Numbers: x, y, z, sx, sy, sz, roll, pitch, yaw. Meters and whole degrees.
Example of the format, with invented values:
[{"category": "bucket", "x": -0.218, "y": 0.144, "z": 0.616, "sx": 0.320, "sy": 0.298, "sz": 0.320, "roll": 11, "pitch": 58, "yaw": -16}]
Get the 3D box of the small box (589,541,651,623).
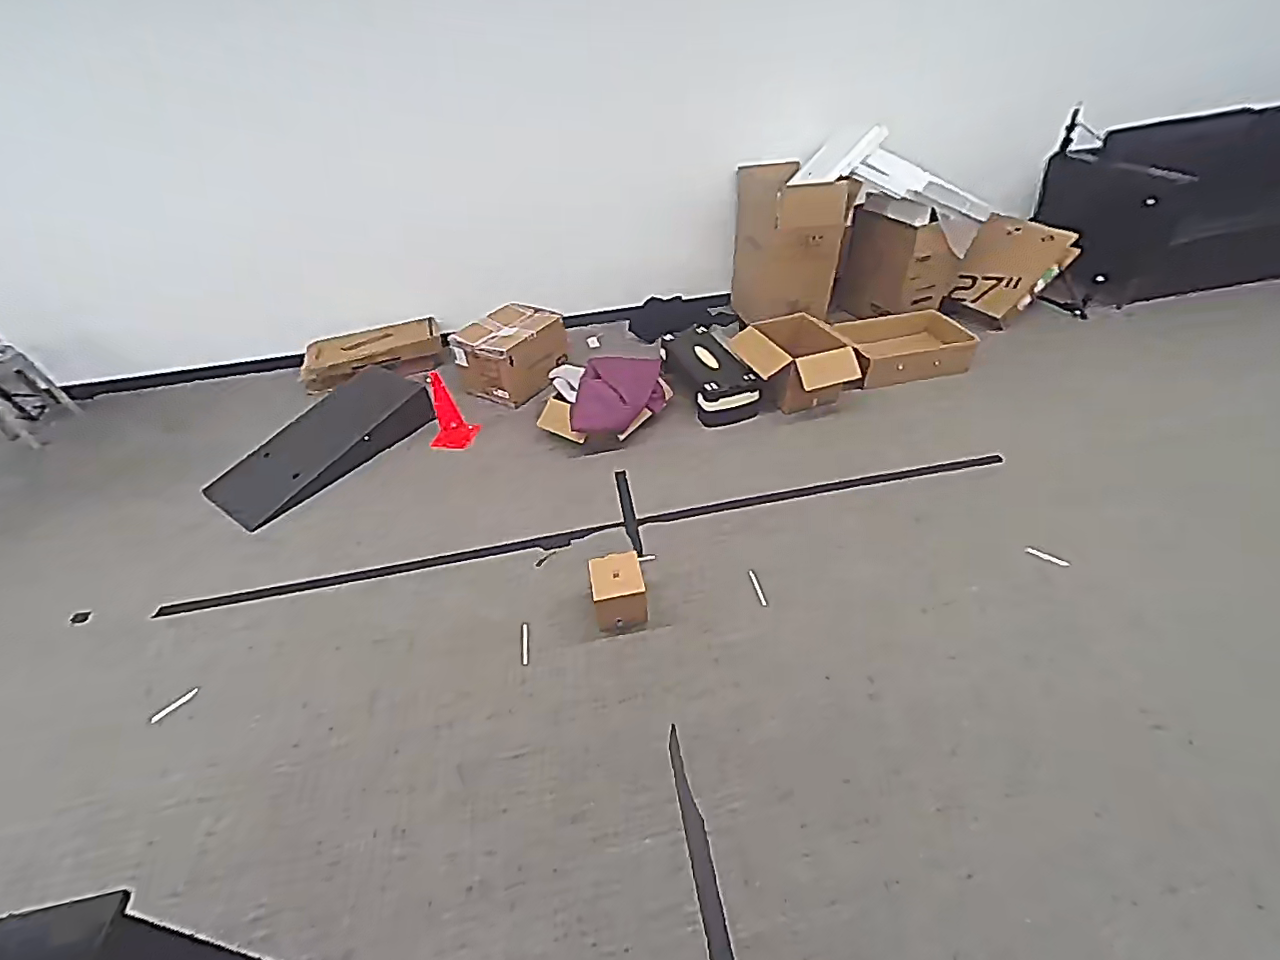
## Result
[{"category": "small box", "x": -0.064, "y": 0.323, "z": 1.713, "sx": 0.168, "sy": 0.176, "sz": 0.179, "roll": -11, "pitch": 42, "yaw": -6}]
